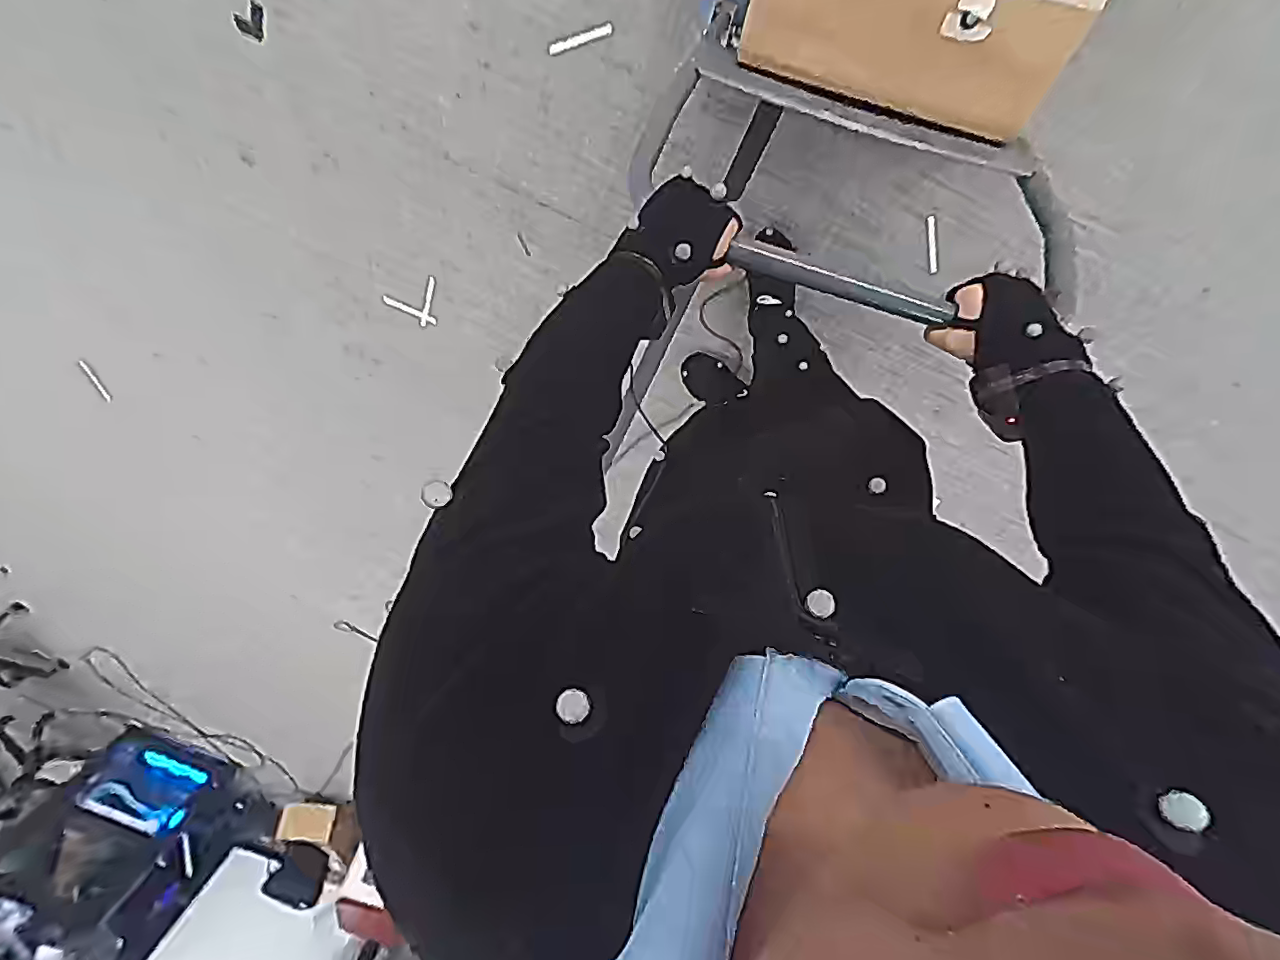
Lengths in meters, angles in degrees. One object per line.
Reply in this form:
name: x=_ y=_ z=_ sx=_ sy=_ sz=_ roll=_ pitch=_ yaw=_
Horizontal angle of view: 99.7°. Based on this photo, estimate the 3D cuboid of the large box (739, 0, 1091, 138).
large box: x=0.384 y=-0.737 z=0.753 sx=0.408 sy=0.320 sz=0.320 roll=16 pitch=139 yaw=1
